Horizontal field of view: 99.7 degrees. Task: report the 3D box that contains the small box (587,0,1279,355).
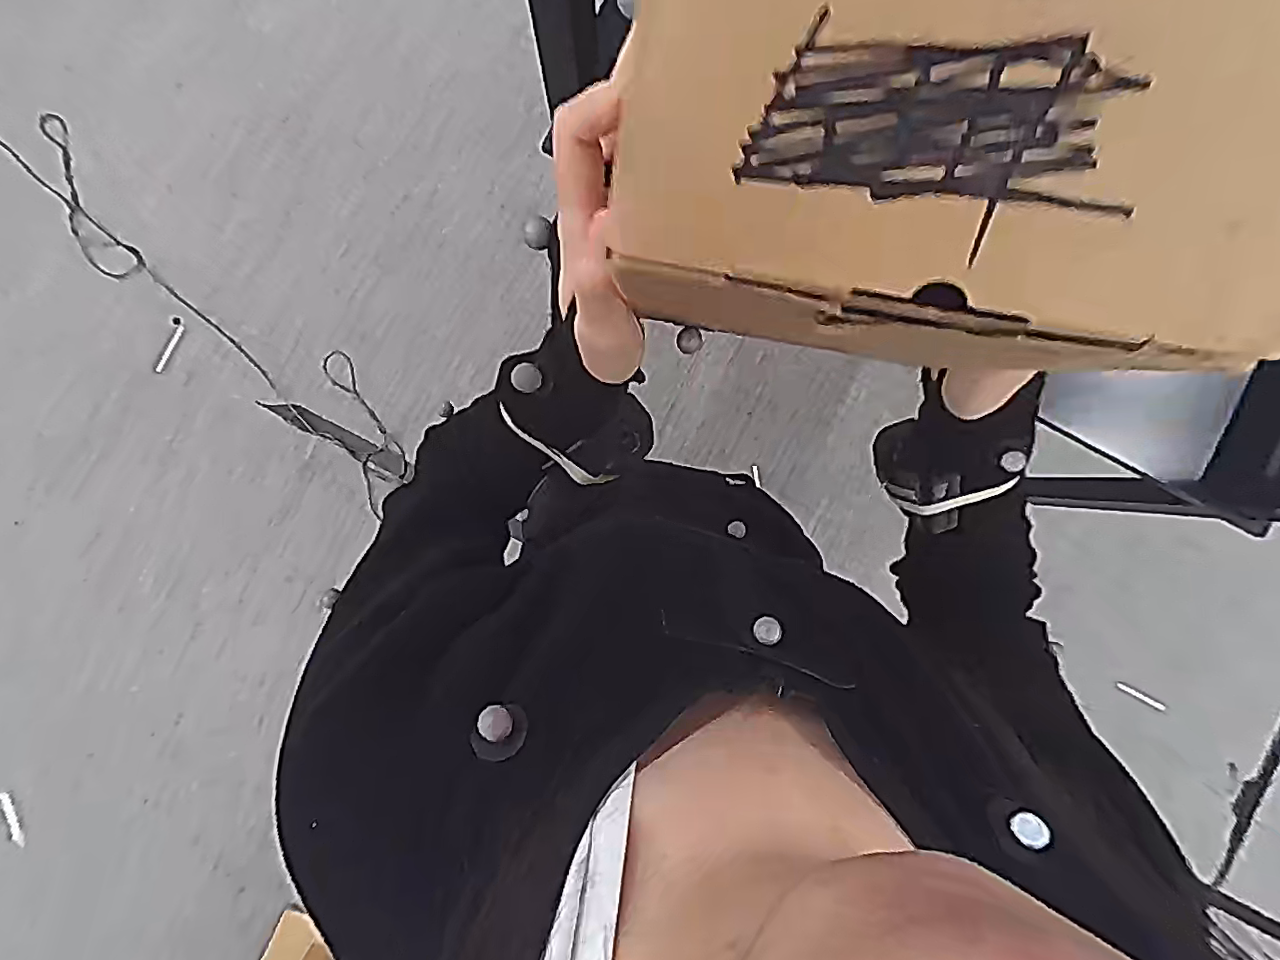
[{"bbox_3d":[0.085,-0.143,0.187,0.168,0.176,0.179,10,102,0],"label":"small box"}]
